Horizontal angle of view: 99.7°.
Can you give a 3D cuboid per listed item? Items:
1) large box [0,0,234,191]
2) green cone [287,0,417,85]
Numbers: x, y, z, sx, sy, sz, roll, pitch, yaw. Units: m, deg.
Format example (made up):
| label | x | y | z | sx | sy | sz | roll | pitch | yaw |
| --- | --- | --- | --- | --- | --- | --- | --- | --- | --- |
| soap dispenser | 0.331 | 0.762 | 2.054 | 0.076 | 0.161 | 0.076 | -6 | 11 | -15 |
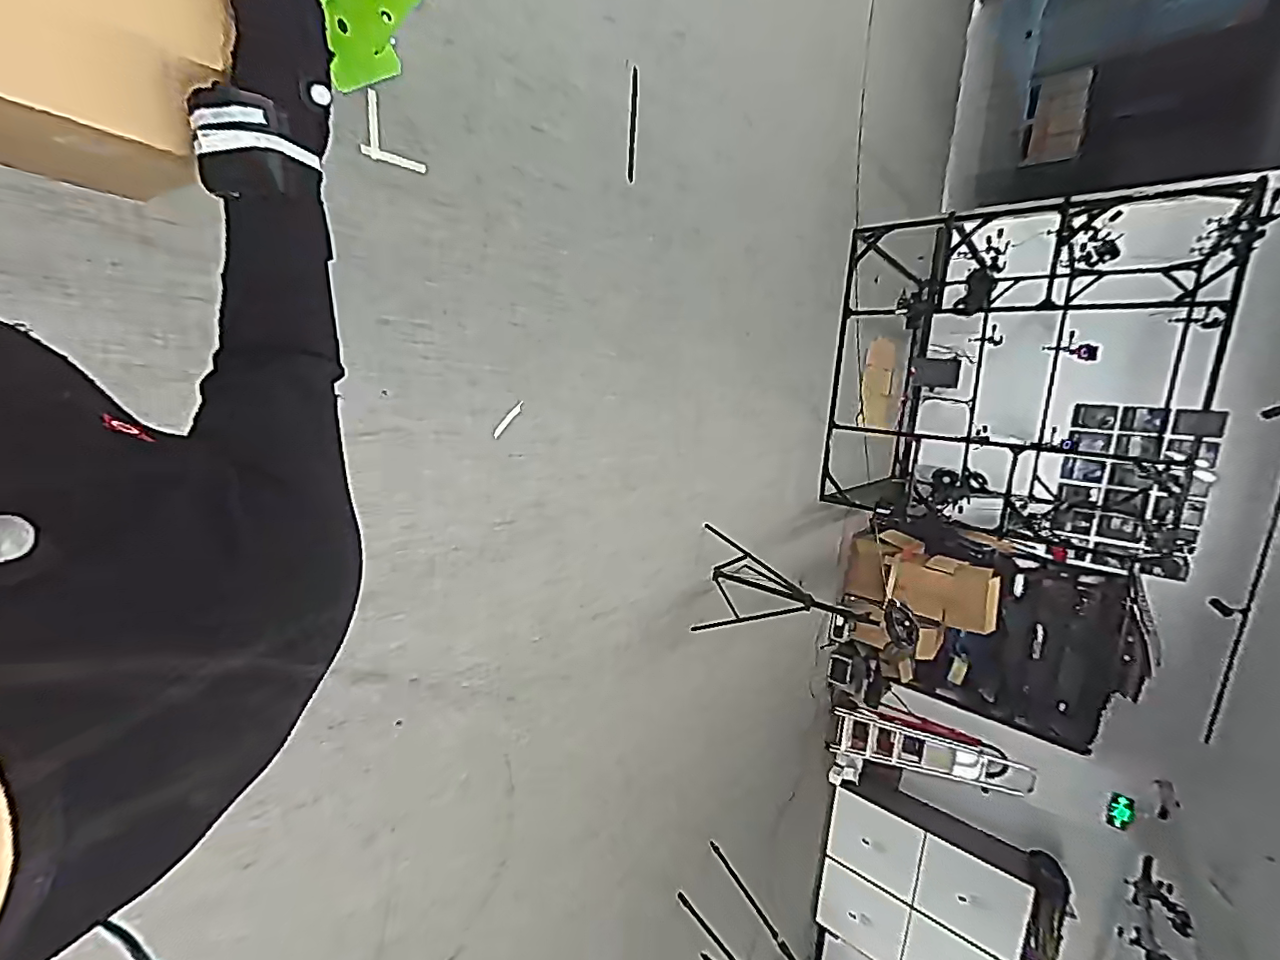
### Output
| label | x | y | z | sx | sy | sz | roll | pitch | yaw |
| --- | --- | --- | --- | --- | --- | --- | --- | --- | --- |
| large box | -0.530 | -0.413 | 0.318 | 0.408 | 0.320 | 0.320 | -5 | 108 | -52 |
| green cone | -0.567 | -1.043 | 1.177 | 0.202 | 0.368 | 0.200 | -52 | 136 | -31 |
